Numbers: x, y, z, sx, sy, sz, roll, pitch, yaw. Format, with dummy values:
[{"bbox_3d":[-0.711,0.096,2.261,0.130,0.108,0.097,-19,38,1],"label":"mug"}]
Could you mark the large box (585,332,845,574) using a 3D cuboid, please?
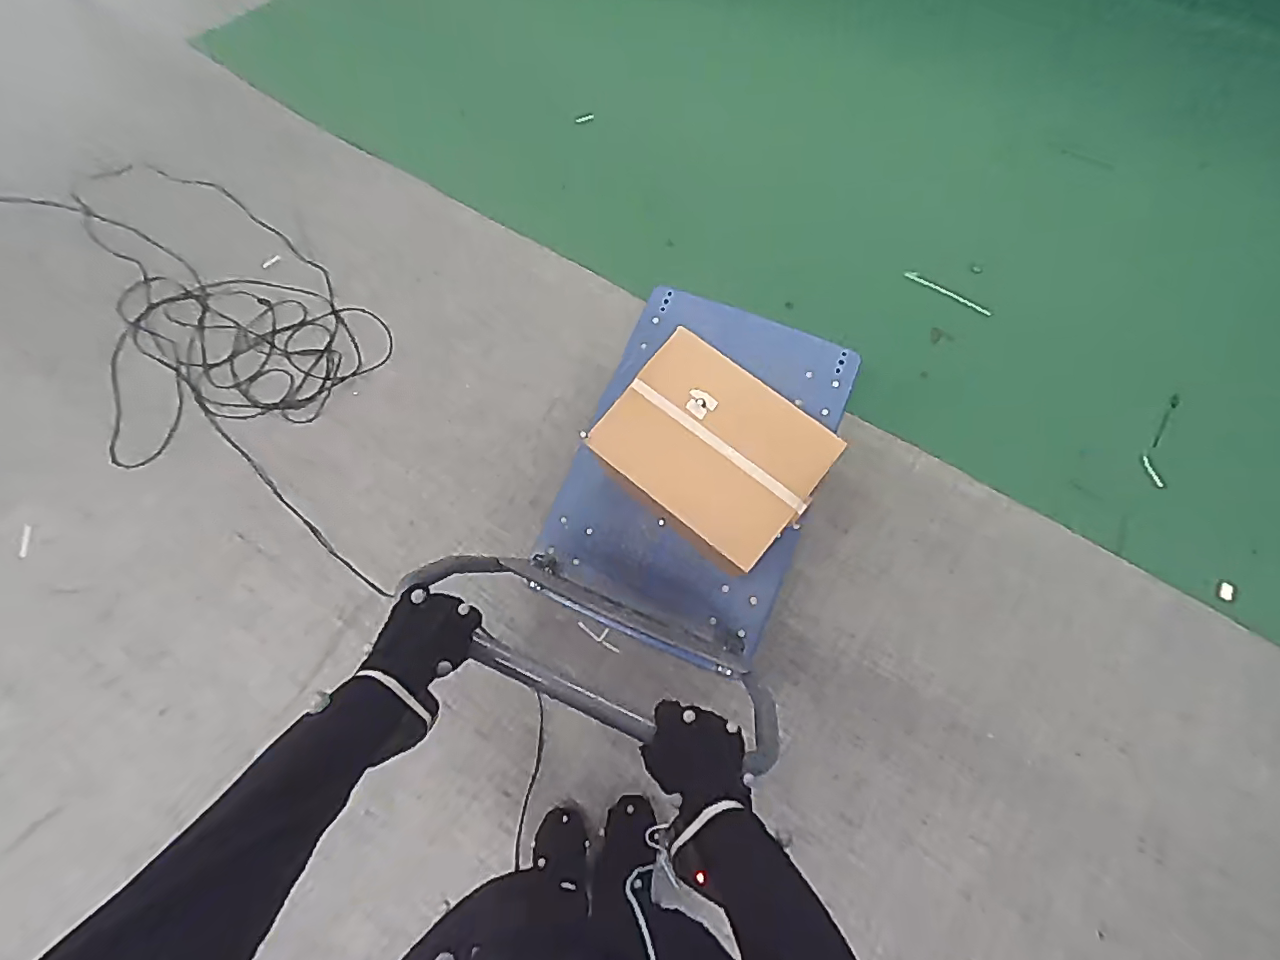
[{"bbox_3d":[0.155,-0.037,1.176,0.408,0.320,0.320,38,83,12],"label":"large box"}]
